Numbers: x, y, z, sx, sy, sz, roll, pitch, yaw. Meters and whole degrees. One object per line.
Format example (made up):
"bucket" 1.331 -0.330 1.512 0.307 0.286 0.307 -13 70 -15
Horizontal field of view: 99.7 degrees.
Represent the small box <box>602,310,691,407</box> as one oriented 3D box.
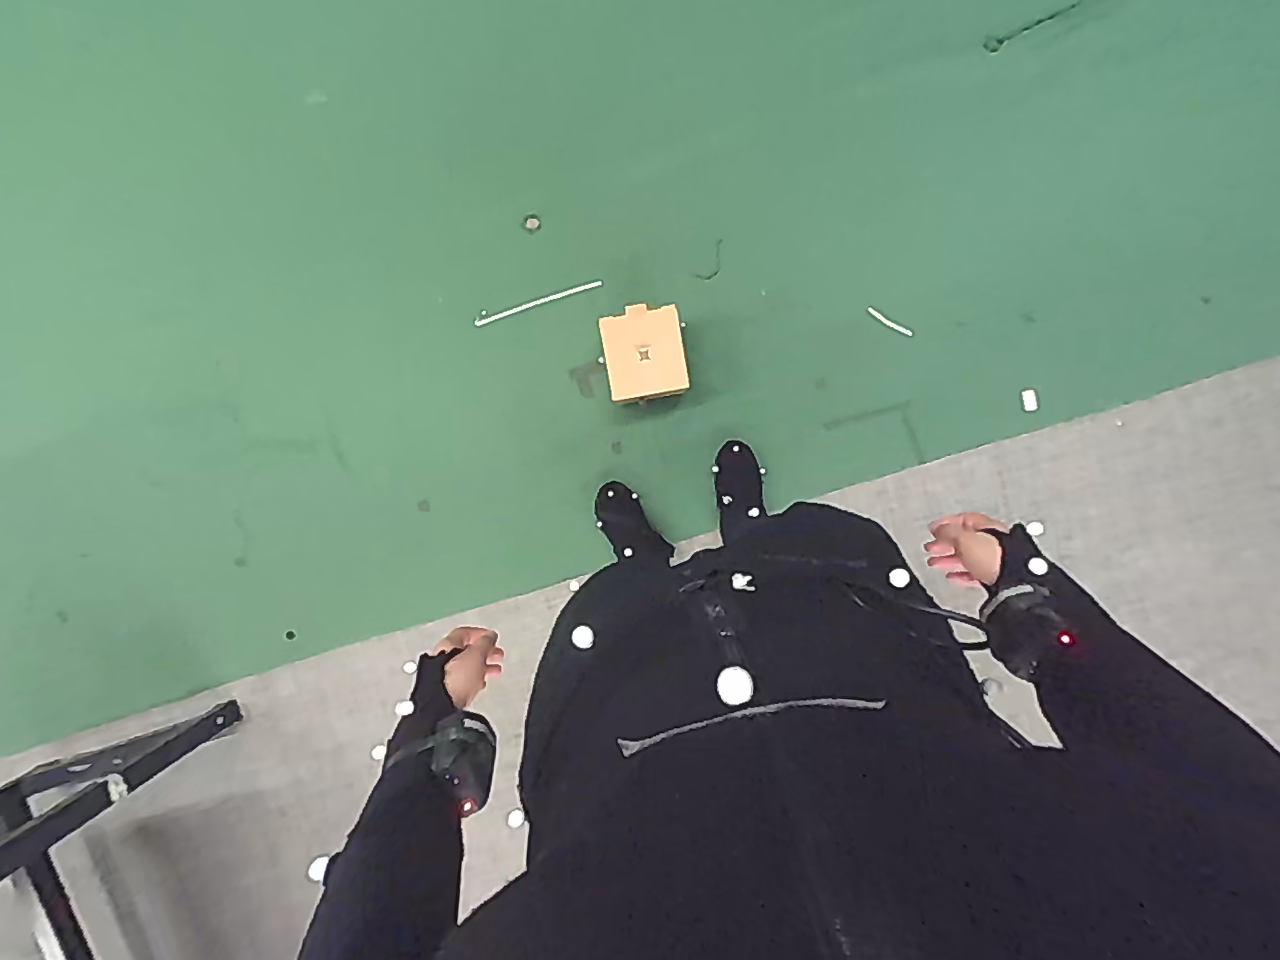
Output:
"small box" 0.018 -0.261 1.205 0.168 0.176 0.179 -10 94 2
